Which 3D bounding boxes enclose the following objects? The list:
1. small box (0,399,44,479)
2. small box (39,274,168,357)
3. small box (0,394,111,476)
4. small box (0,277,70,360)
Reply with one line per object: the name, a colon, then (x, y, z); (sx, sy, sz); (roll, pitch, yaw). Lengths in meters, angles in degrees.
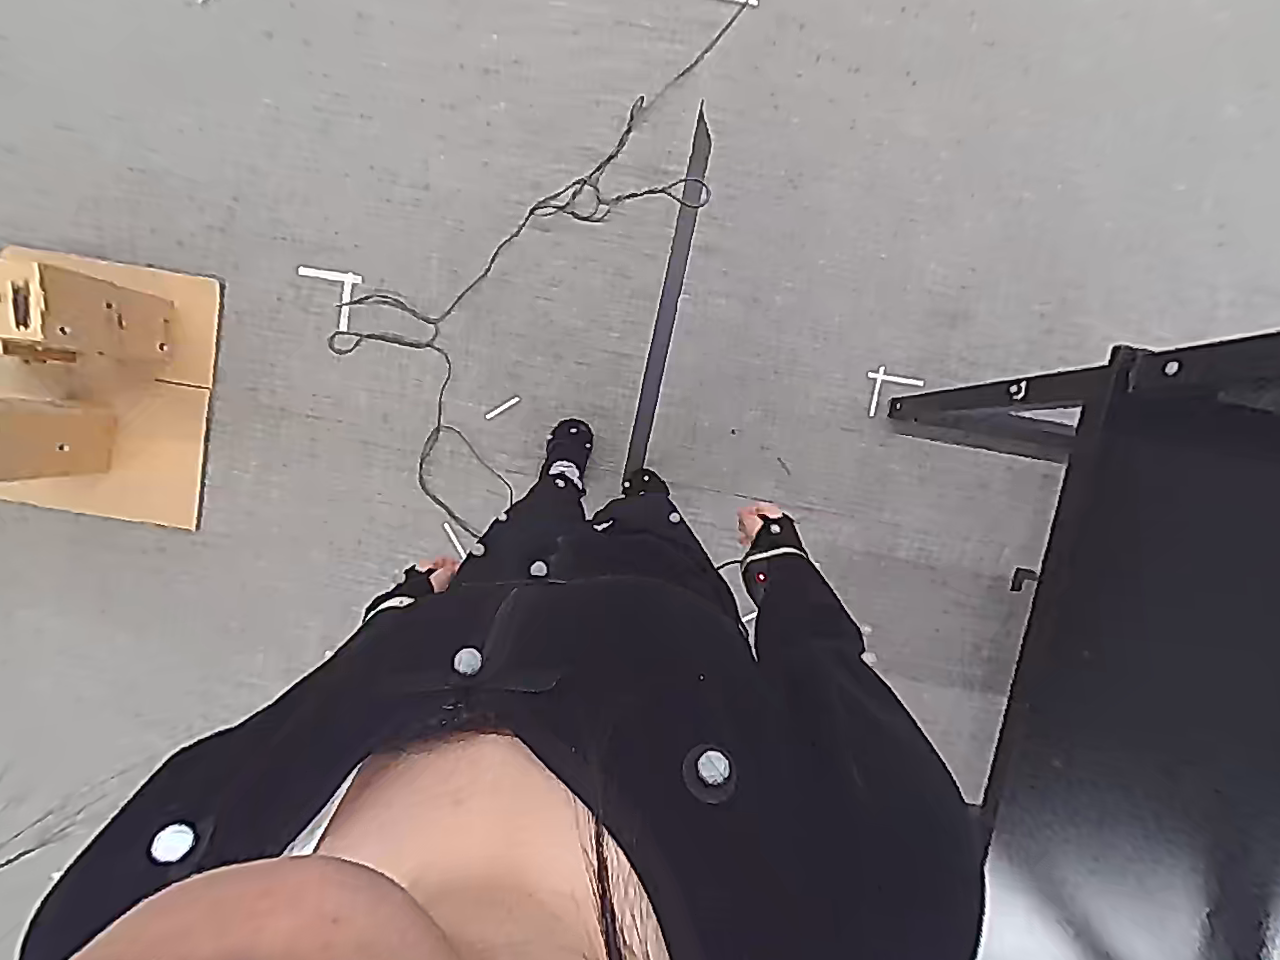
small box: (-1.537, -0.104, 1.235); (0.168, 0.176, 0.179); (14, 96, -1)
small box: (-1.353, -0.410, 1.375); (0.179, 0.176, 0.168); (6, 94, 0)
small box: (-1.534, -0.119, 1.399); (0.168, 0.176, 0.179); (13, 96, -1)
small box: (-1.615, -0.413, 1.378); (0.168, 0.176, 0.179); (6, 95, 1)
